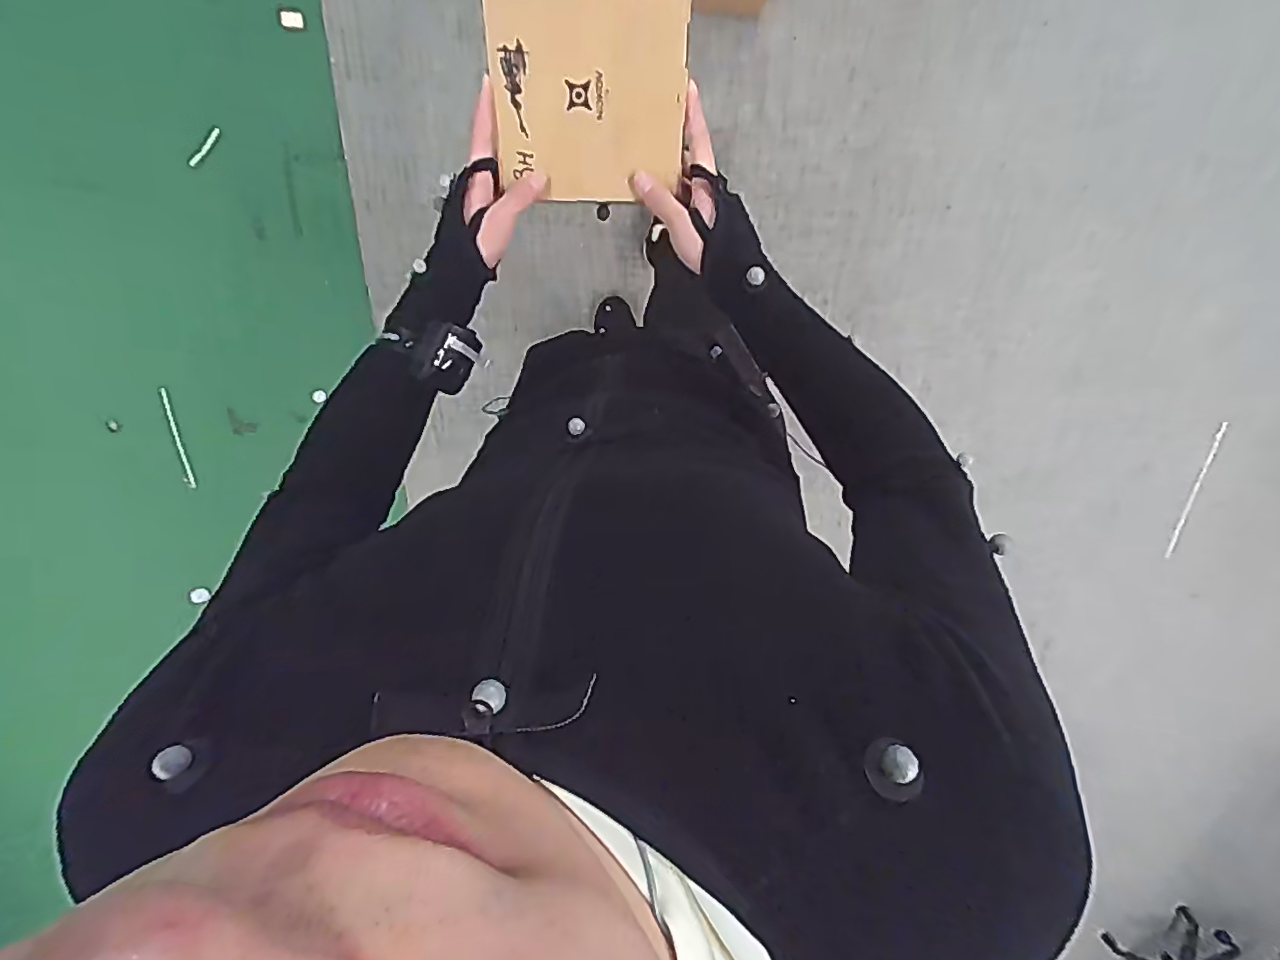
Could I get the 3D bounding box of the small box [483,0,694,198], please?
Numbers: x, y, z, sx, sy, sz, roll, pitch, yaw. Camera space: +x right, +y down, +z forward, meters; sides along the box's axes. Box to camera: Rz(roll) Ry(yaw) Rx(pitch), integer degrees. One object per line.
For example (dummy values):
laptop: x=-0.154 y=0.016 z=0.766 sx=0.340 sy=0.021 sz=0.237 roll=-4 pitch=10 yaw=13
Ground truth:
small box: x=-0.044 y=-0.380 z=0.542 sx=0.179 sy=0.176 sz=0.168 roll=1 pitch=116 yaw=0
